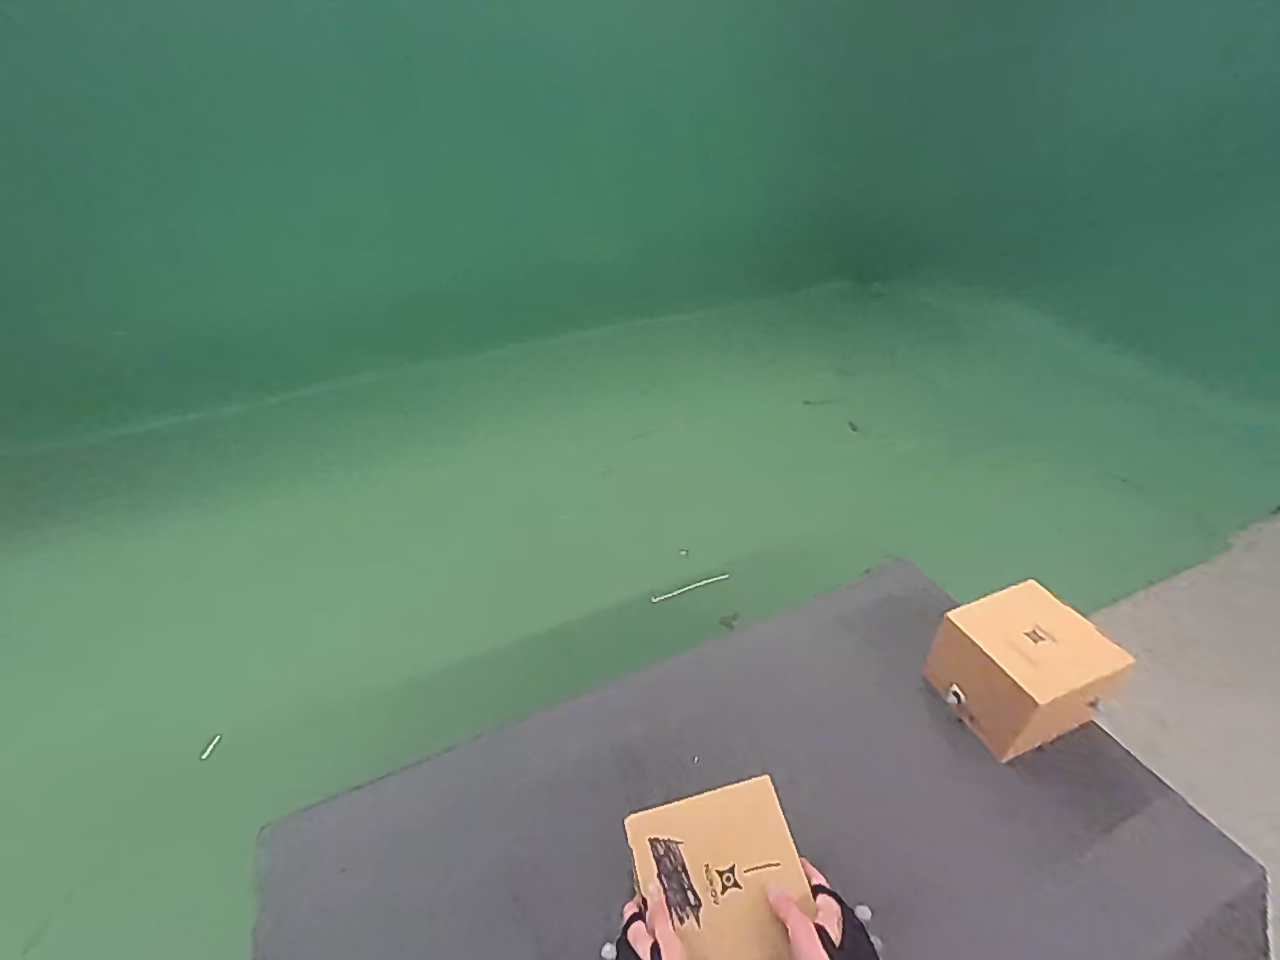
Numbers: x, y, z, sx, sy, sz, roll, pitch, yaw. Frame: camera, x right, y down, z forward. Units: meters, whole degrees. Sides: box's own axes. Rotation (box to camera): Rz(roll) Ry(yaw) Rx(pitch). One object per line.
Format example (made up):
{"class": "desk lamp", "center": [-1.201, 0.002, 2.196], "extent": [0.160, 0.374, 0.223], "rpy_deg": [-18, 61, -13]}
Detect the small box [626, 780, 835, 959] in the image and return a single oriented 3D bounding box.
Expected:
{"class": "small box", "center": [0.095, 0.472, 0.611], "extent": [0.179, 0.176, 0.168], "rpy_deg": [-14, 46, -4]}

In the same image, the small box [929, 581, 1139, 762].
{"class": "small box", "center": [0.579, 0.290, 0.824], "extent": [0.179, 0.176, 0.168], "rpy_deg": [-17, 38, -13]}
